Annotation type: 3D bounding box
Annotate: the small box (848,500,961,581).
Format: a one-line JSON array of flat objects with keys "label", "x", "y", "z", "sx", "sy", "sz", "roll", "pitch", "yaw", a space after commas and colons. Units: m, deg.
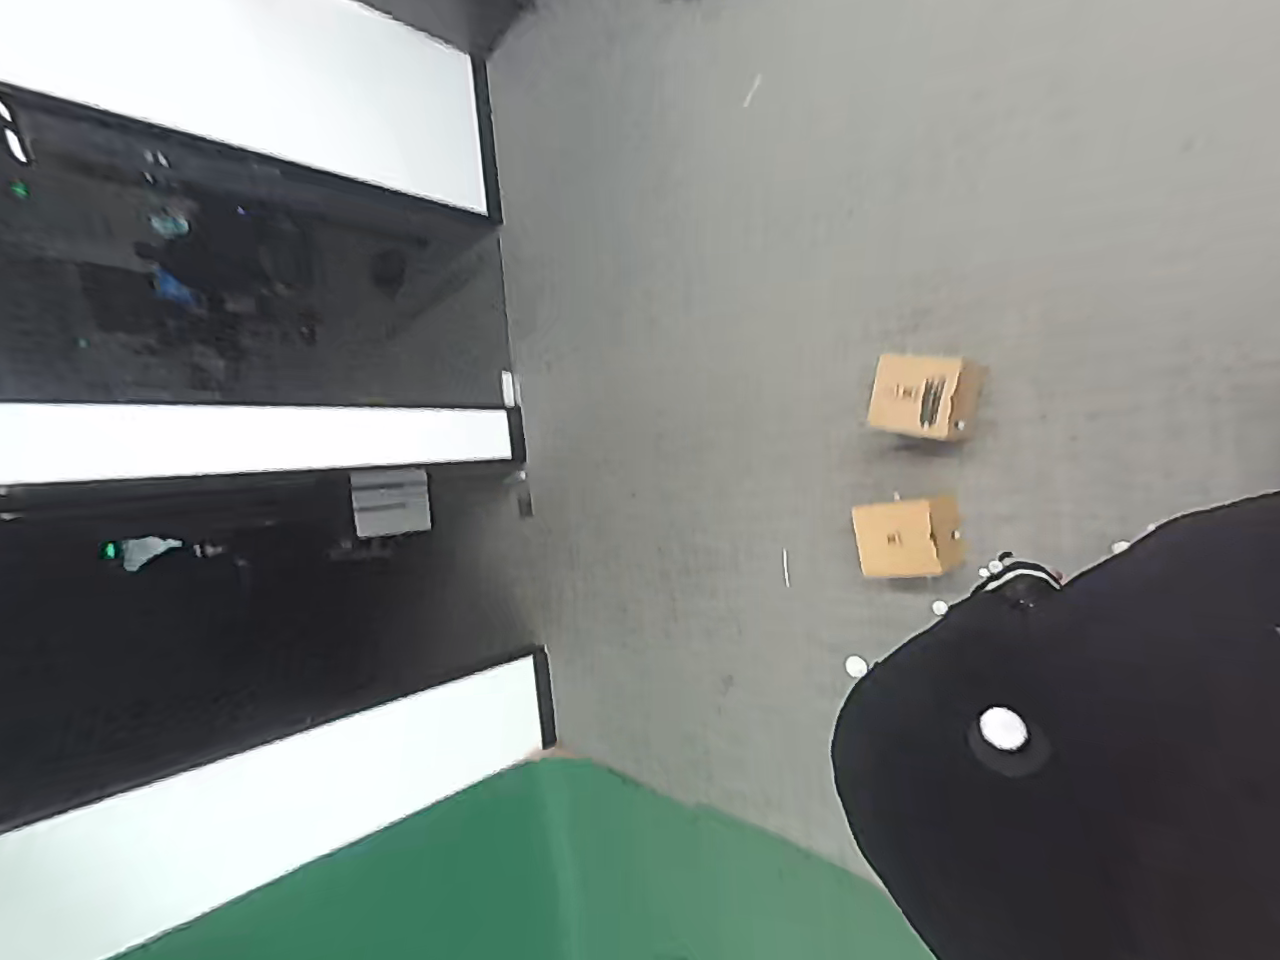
[{"label": "small box", "x": 0.617, "y": 0.141, "z": 1.262, "sx": 0.179, "sy": 0.176, "sz": 0.168, "roll": -13, "pitch": 83, "yaw": 47}]
